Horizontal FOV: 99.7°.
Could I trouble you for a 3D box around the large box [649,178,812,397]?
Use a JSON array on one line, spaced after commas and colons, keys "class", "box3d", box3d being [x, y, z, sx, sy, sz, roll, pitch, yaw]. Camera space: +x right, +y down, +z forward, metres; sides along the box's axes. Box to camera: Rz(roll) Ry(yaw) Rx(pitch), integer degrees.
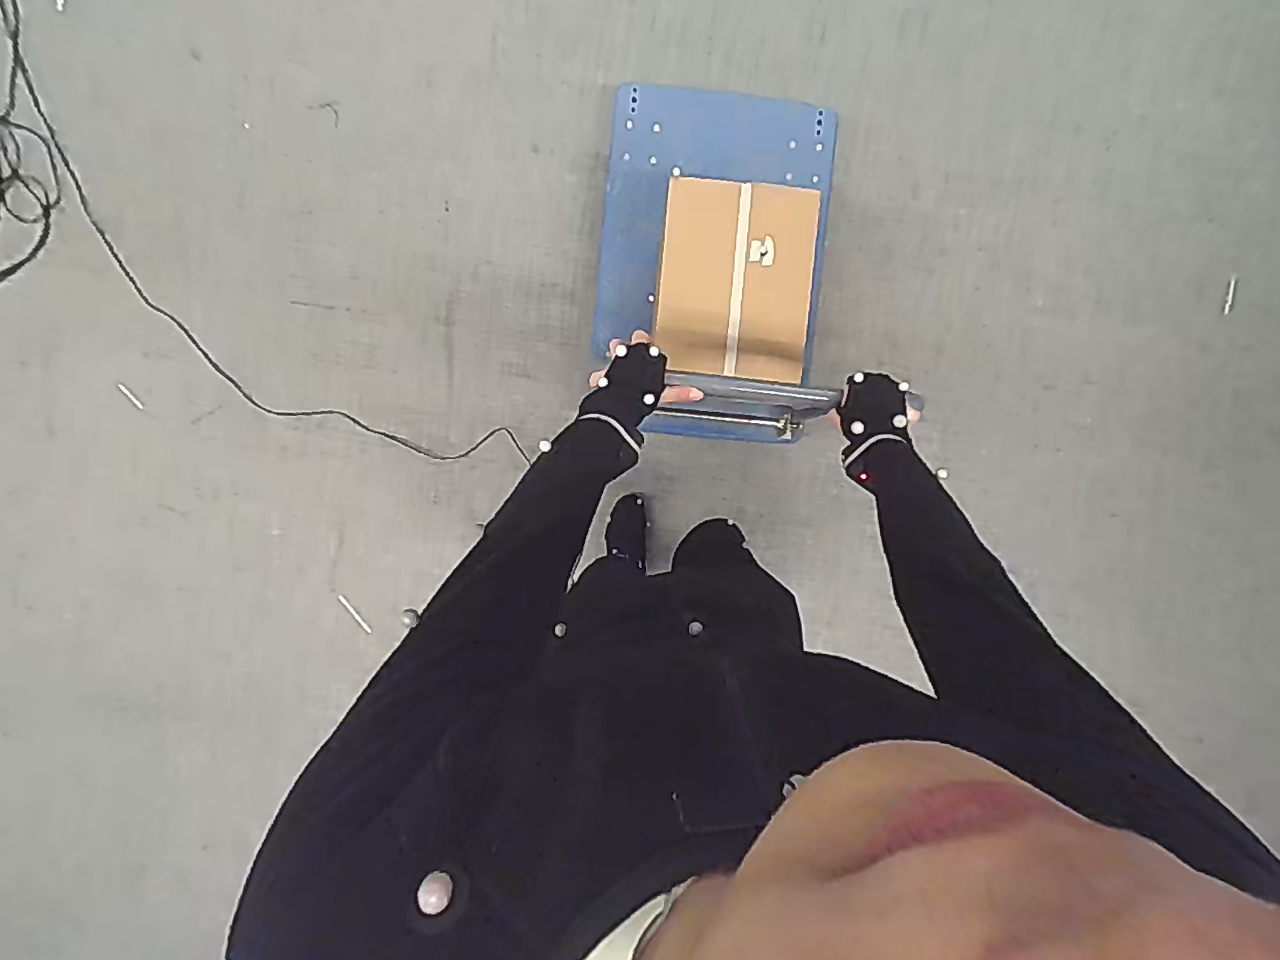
[{"class": "large box", "box3d": [0.188, -0.418, 1.269, 0.320, 0.320, 0.408, 5, 92, -2]}]
